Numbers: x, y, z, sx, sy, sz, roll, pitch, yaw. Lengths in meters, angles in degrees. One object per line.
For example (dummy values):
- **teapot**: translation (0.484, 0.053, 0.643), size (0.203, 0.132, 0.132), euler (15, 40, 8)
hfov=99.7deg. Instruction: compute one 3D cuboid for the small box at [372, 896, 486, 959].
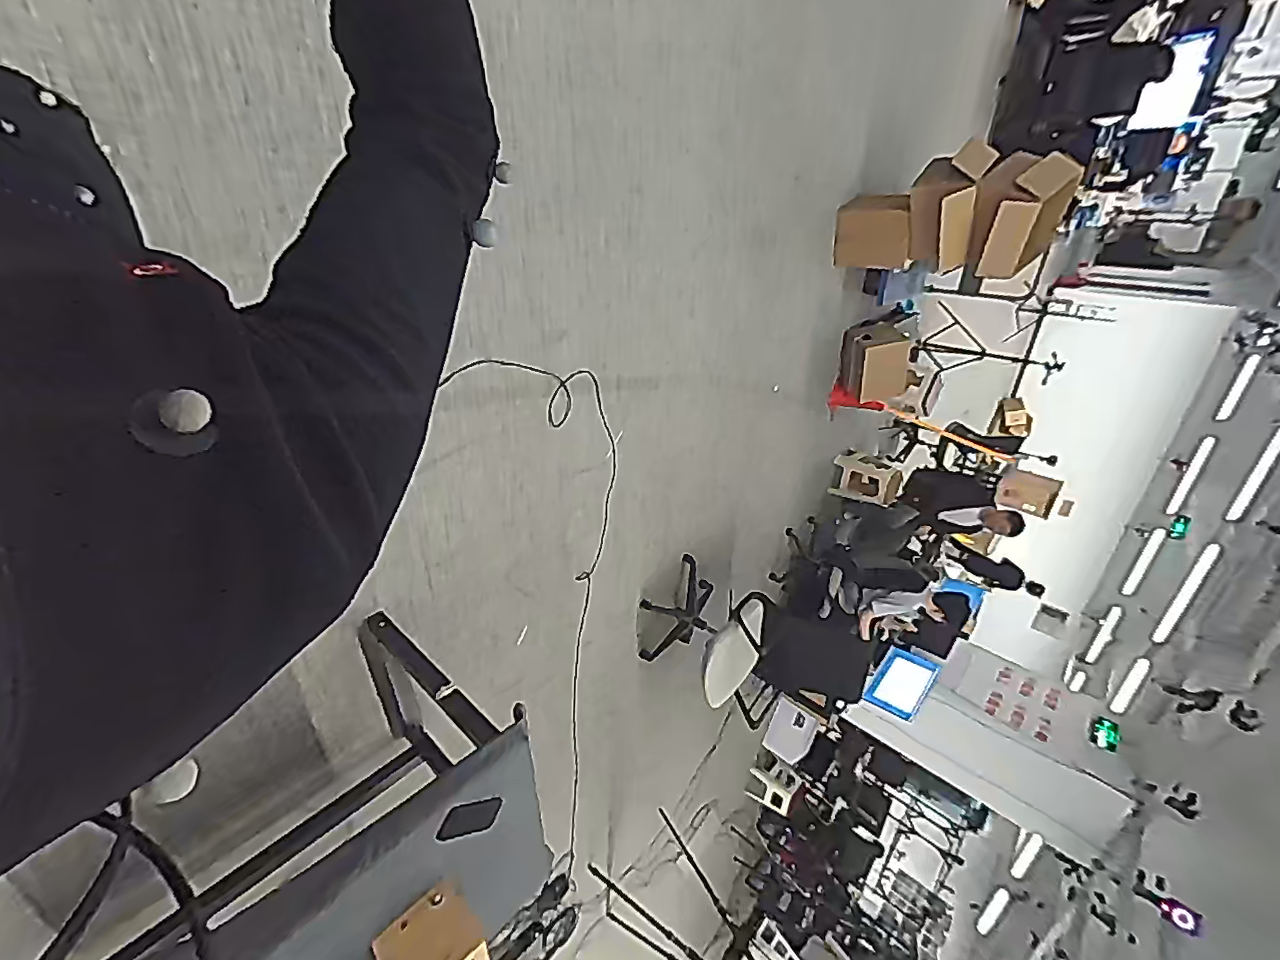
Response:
- **small box**: translation (-0.439, 1.033, 1.138), size (0.168, 0.176, 0.179), euler (-25, 128, -42)
